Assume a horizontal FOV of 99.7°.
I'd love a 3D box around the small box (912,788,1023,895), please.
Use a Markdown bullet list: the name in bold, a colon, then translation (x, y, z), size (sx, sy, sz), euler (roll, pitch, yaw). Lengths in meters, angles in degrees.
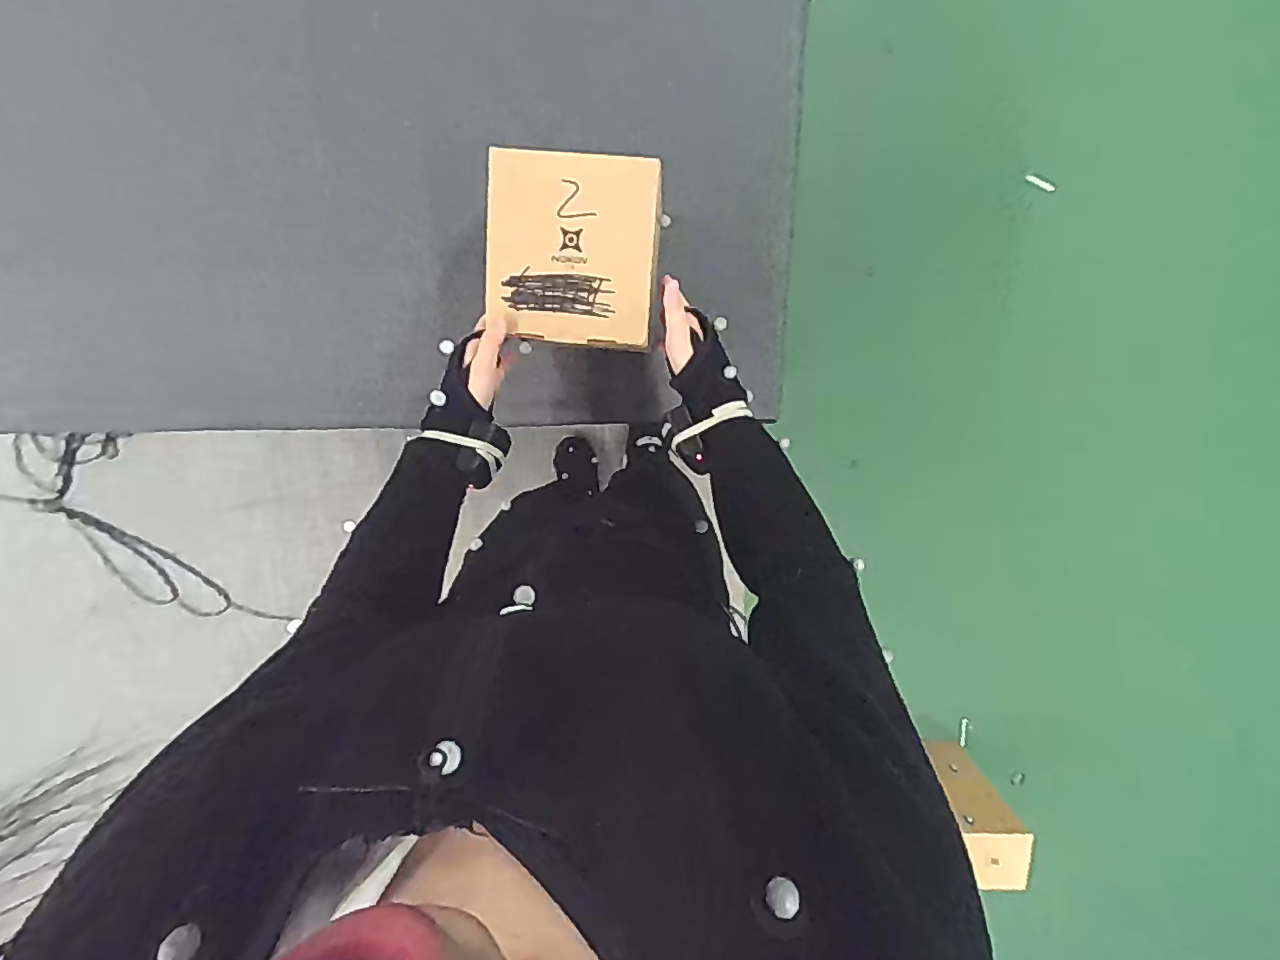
- **small box**: translation (0.835, 0.921, 1.392), size (0.179, 0.176, 0.168), euler (-1, 101, 0)
